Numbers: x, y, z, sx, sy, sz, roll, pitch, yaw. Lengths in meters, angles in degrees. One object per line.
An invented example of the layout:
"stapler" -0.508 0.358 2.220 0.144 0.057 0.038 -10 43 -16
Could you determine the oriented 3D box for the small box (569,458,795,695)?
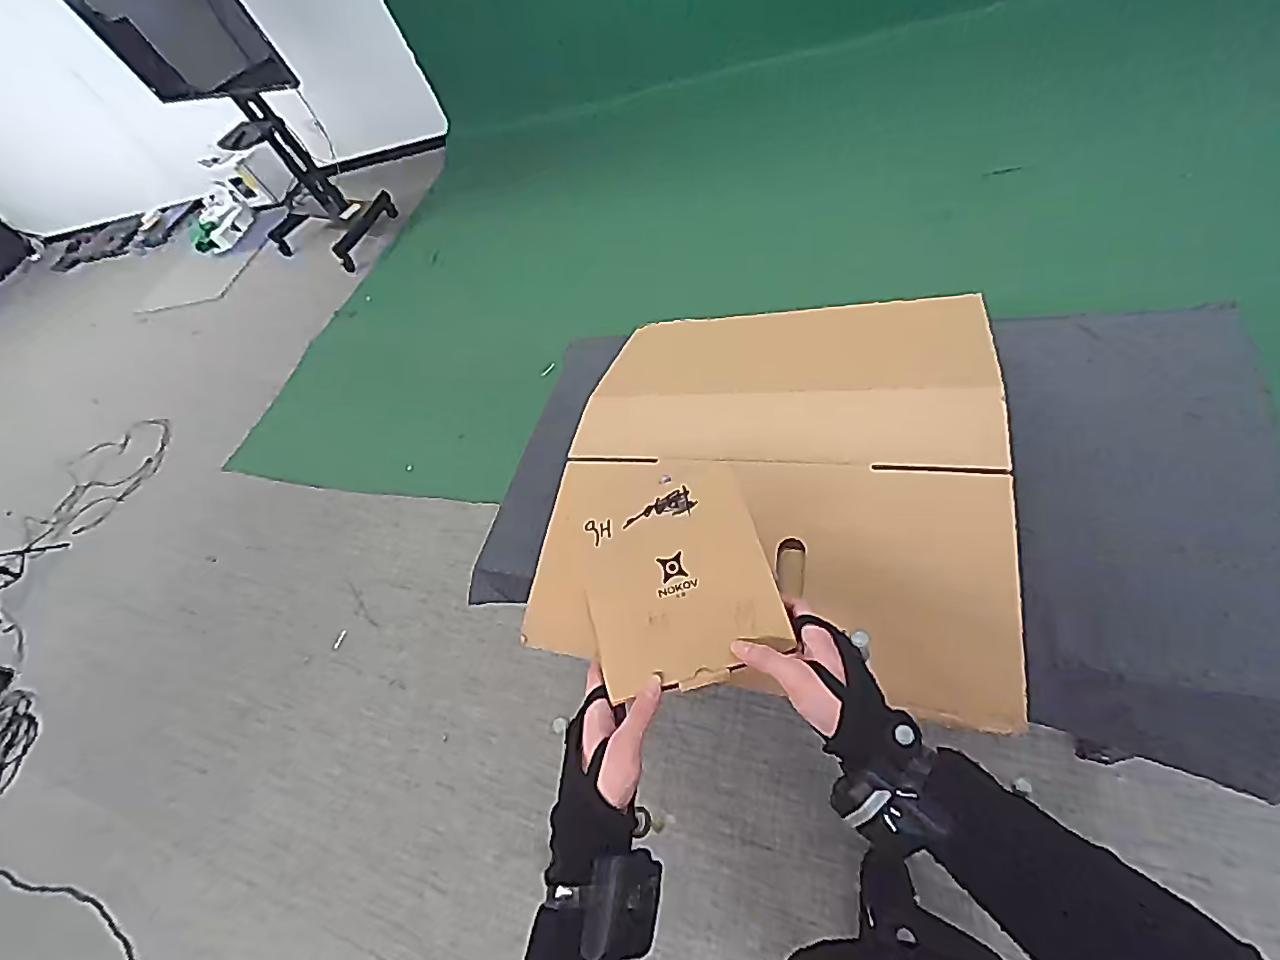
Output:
"small box" 0.045 0.105 0.562 0.168 0.176 0.179 -20 70 3
